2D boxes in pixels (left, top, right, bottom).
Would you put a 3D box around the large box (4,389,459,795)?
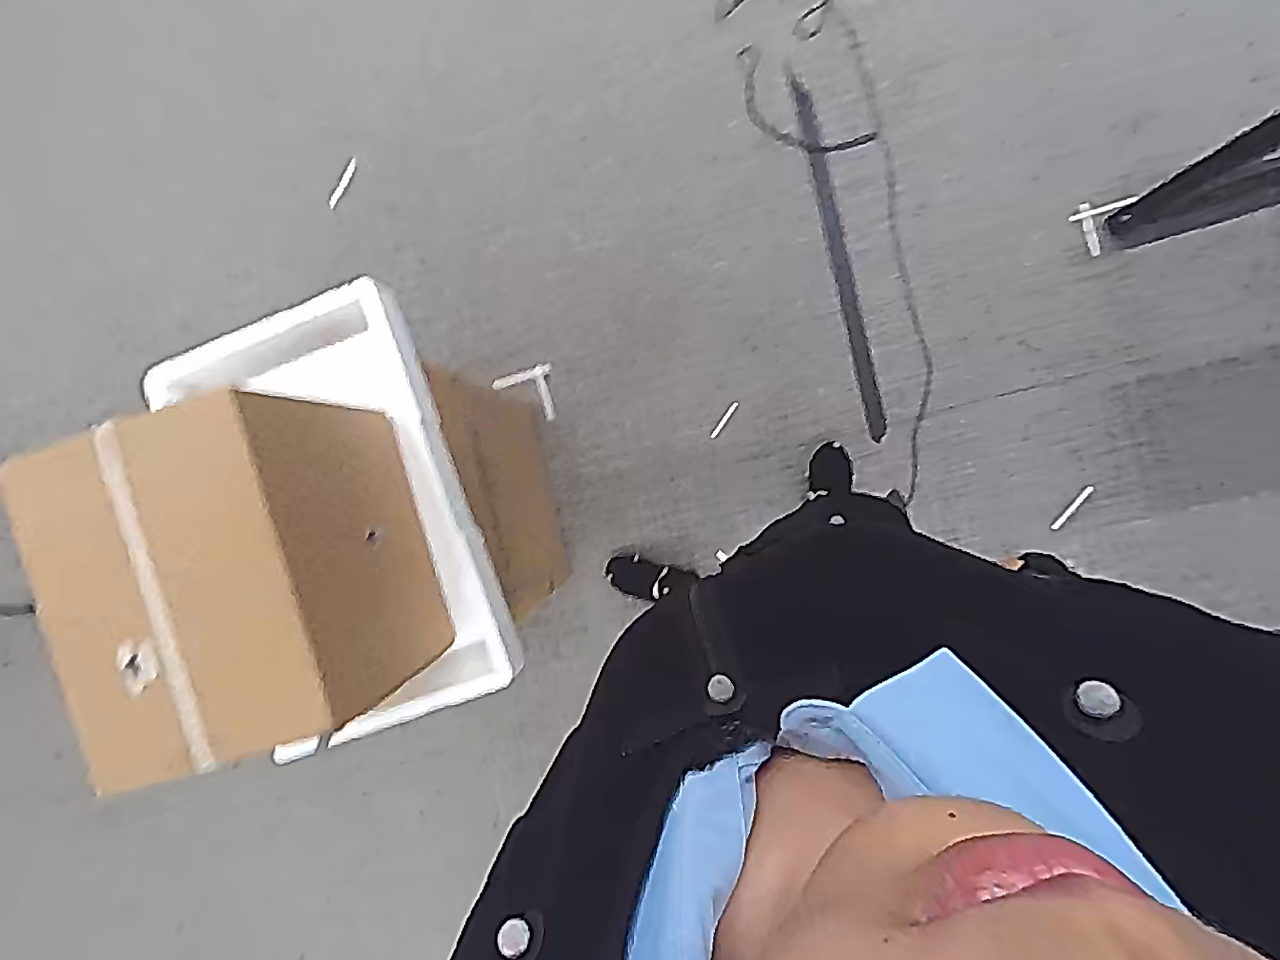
[{"bbox_3d":[-0.511,0.125,0.755,0.320,0.320,0.408,-18,91,7],"label":"large box"}]
